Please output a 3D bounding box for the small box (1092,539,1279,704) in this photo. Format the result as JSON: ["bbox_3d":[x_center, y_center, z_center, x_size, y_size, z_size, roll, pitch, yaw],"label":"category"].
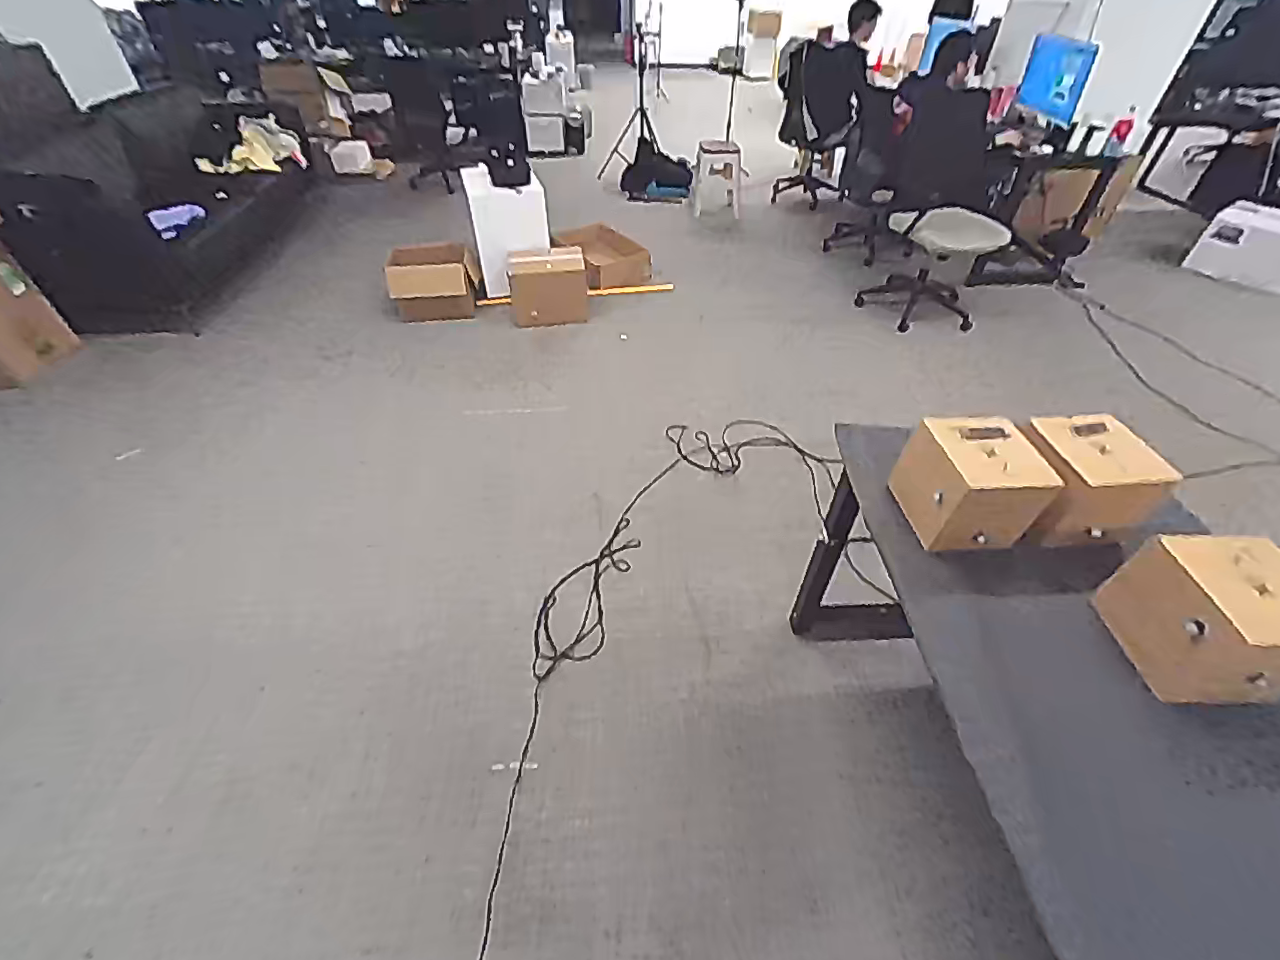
[{"bbox_3d":[0.820,0.205,0.776,0.168,0.176,0.179,1,44,0],"label":"small box"}]
